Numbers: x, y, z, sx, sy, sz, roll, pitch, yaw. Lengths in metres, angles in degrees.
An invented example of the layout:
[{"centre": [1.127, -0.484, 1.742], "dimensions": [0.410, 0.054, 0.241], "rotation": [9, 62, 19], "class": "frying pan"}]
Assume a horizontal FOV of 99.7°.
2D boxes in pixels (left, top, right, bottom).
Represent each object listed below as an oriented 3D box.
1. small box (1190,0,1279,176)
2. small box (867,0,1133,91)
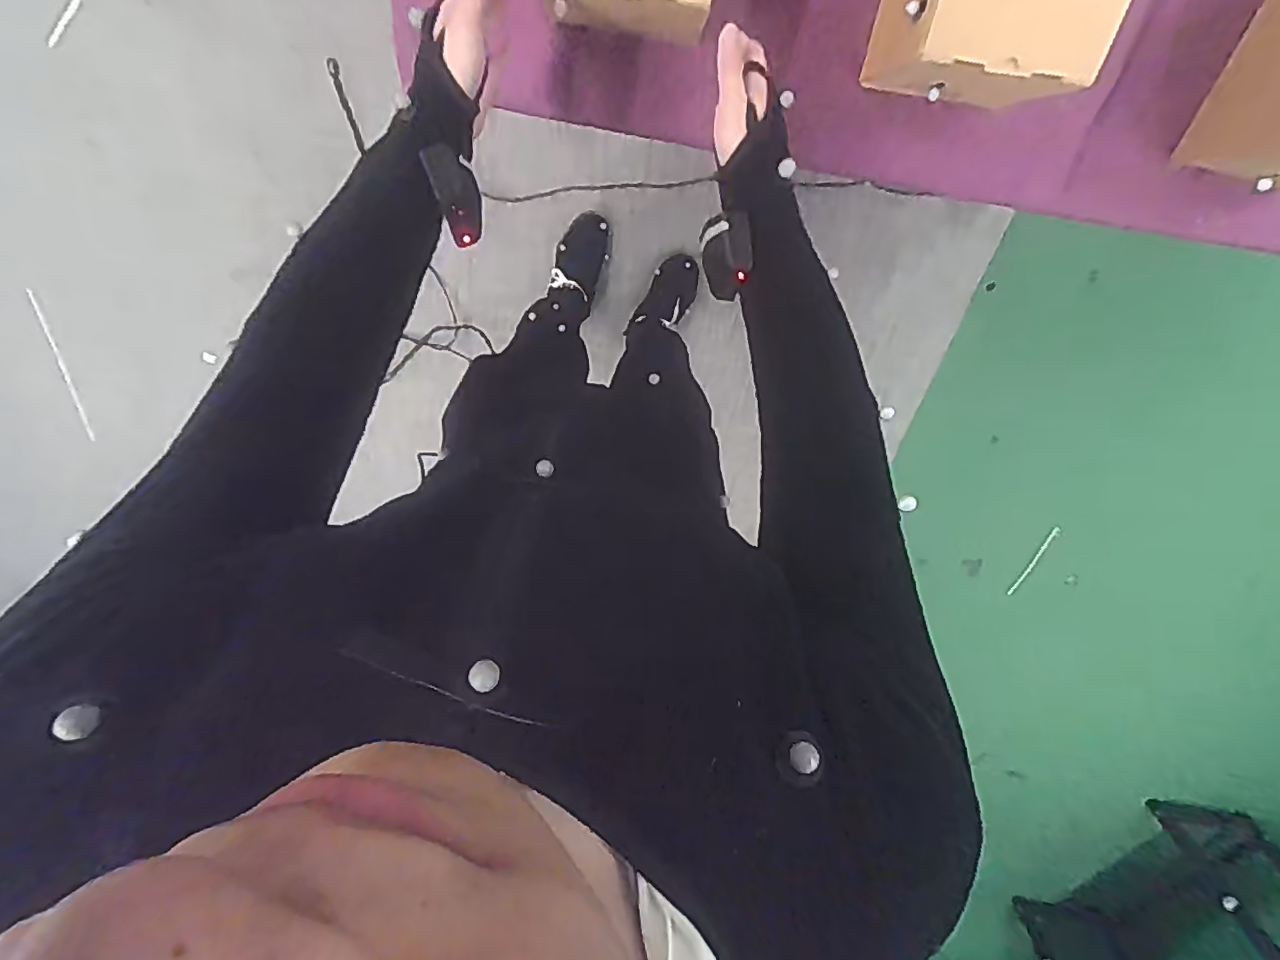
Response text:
[{"centre": [0.729, -0.410, 0.533], "dimensions": [0.168, 0.176, 0.179], "rotation": [10, 121, -4], "class": "small box"}, {"centre": [0.337, -0.484, 0.499], "dimensions": [0.168, 0.176, 0.179], "rotation": [6, 121, -3], "class": "small box"}]
